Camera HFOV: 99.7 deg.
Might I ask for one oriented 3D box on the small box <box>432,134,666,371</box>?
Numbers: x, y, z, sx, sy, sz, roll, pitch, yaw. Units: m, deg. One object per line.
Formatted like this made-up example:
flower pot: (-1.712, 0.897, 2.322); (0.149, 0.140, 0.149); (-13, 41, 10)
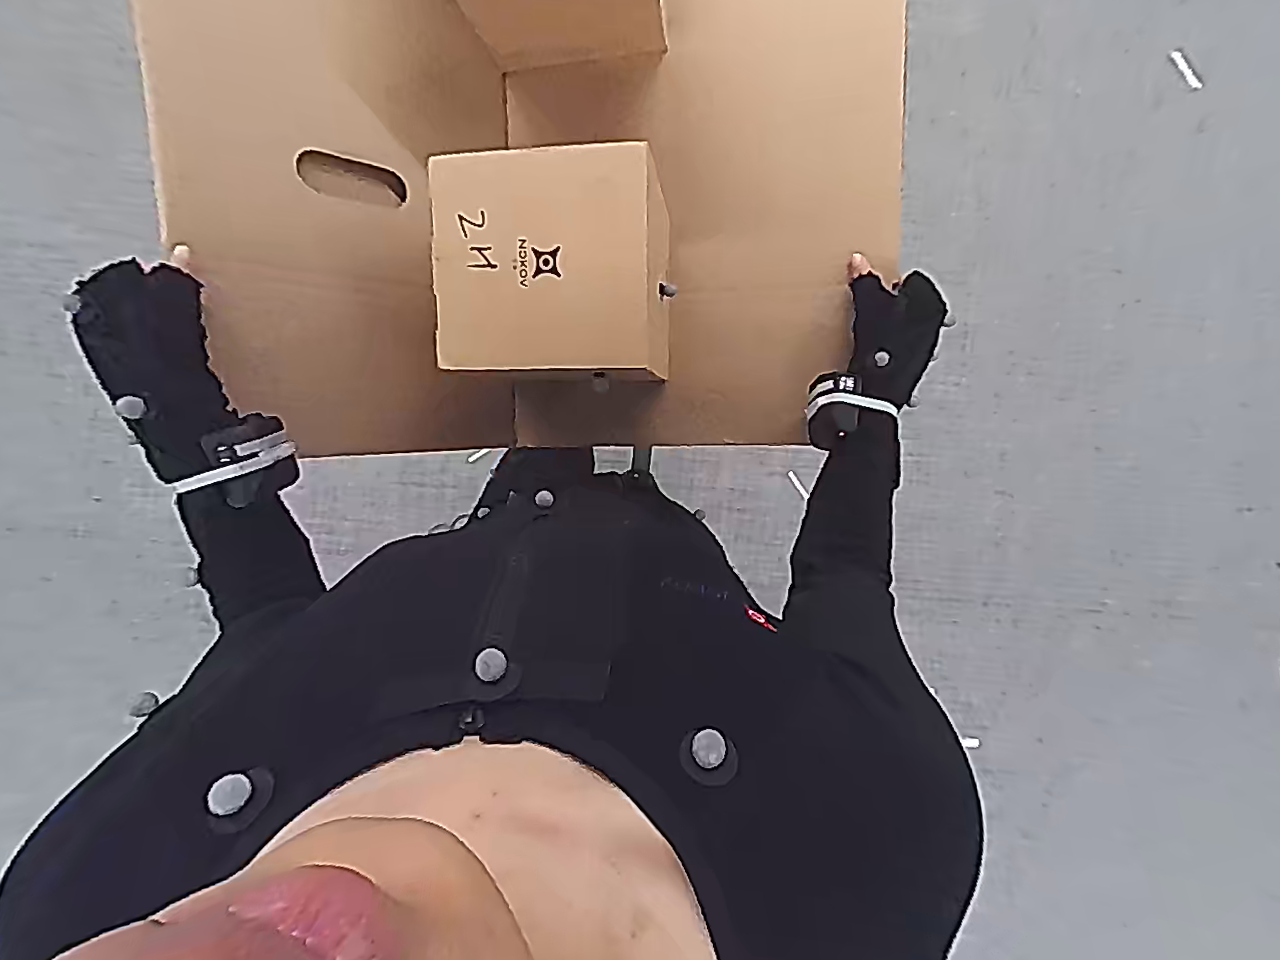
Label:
small box: (-0.069, -0.193, 0.507); (0.179, 0.176, 0.168); (2, 97, 9)

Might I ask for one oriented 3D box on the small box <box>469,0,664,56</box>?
small box: (-0.077, -0.511, 0.469); (0.179, 0.176, 0.168); (-1, 97, 8)
